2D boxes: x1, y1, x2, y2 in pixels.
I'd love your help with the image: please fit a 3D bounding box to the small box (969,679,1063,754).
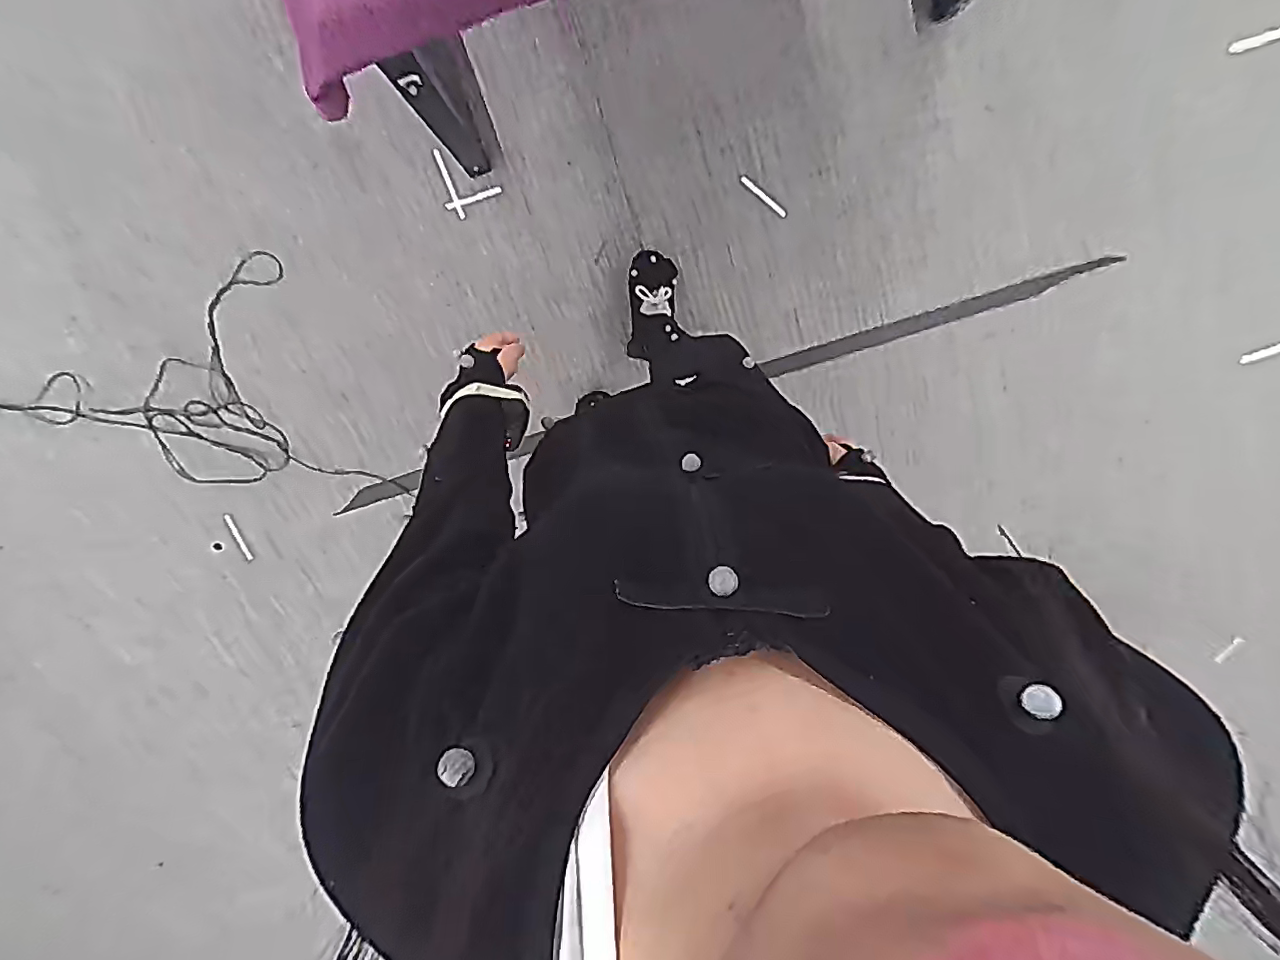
[{"bbox_3d":[1.203,0.766,1.715,0.179,0.176,0.168,27,102,-11],"label":"small box"}]
